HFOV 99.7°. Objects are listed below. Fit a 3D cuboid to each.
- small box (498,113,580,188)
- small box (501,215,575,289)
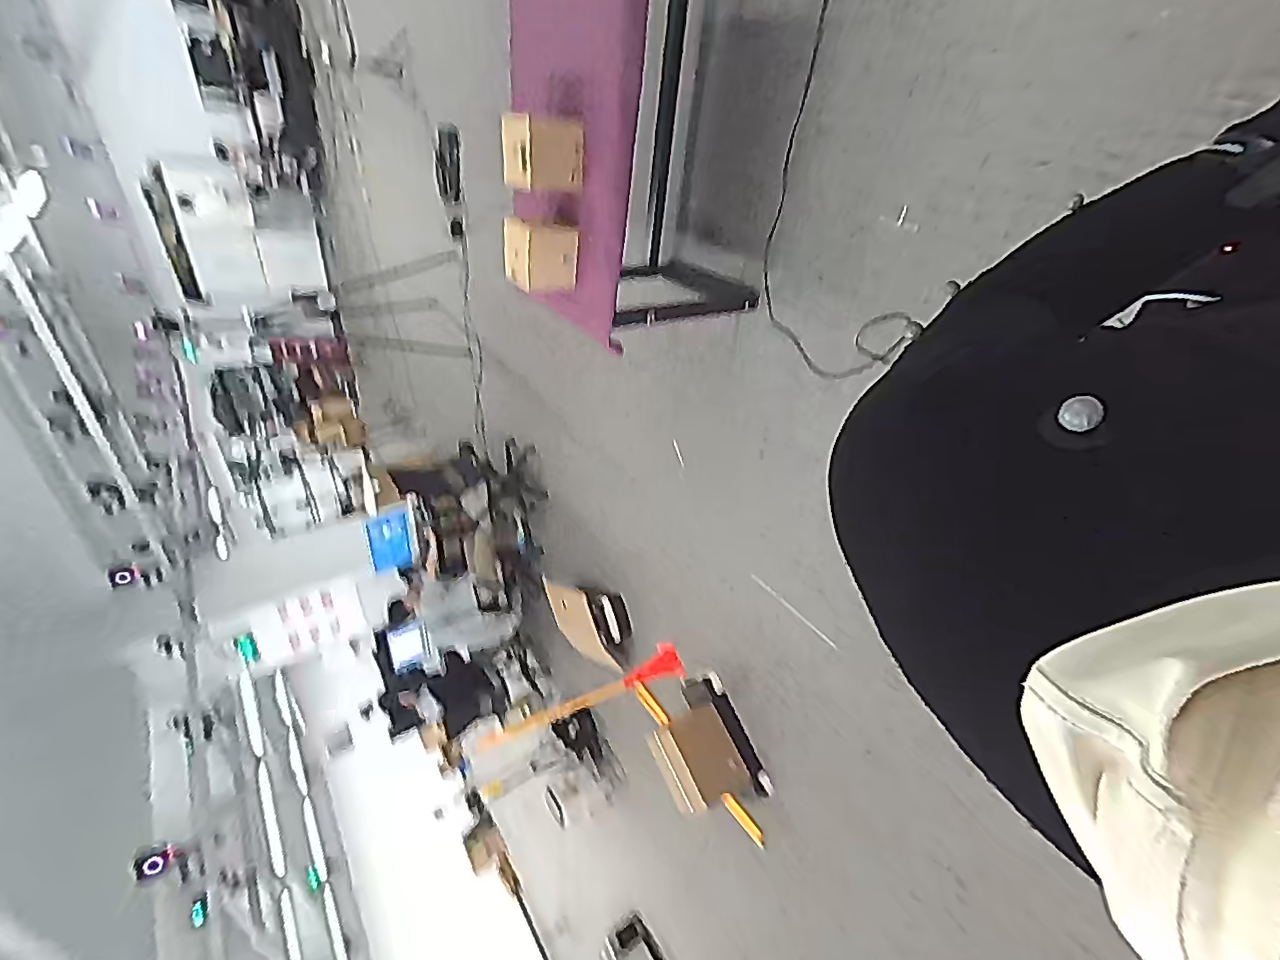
[{"bbox_3d":[-0.282,-0.926,1.523,0.179,0.176,0.168,38,134,41],"label":"small box"},{"bbox_3d":[-0.315,-0.708,1.674,0.168,0.176,0.179,42,136,37],"label":"small box"}]
